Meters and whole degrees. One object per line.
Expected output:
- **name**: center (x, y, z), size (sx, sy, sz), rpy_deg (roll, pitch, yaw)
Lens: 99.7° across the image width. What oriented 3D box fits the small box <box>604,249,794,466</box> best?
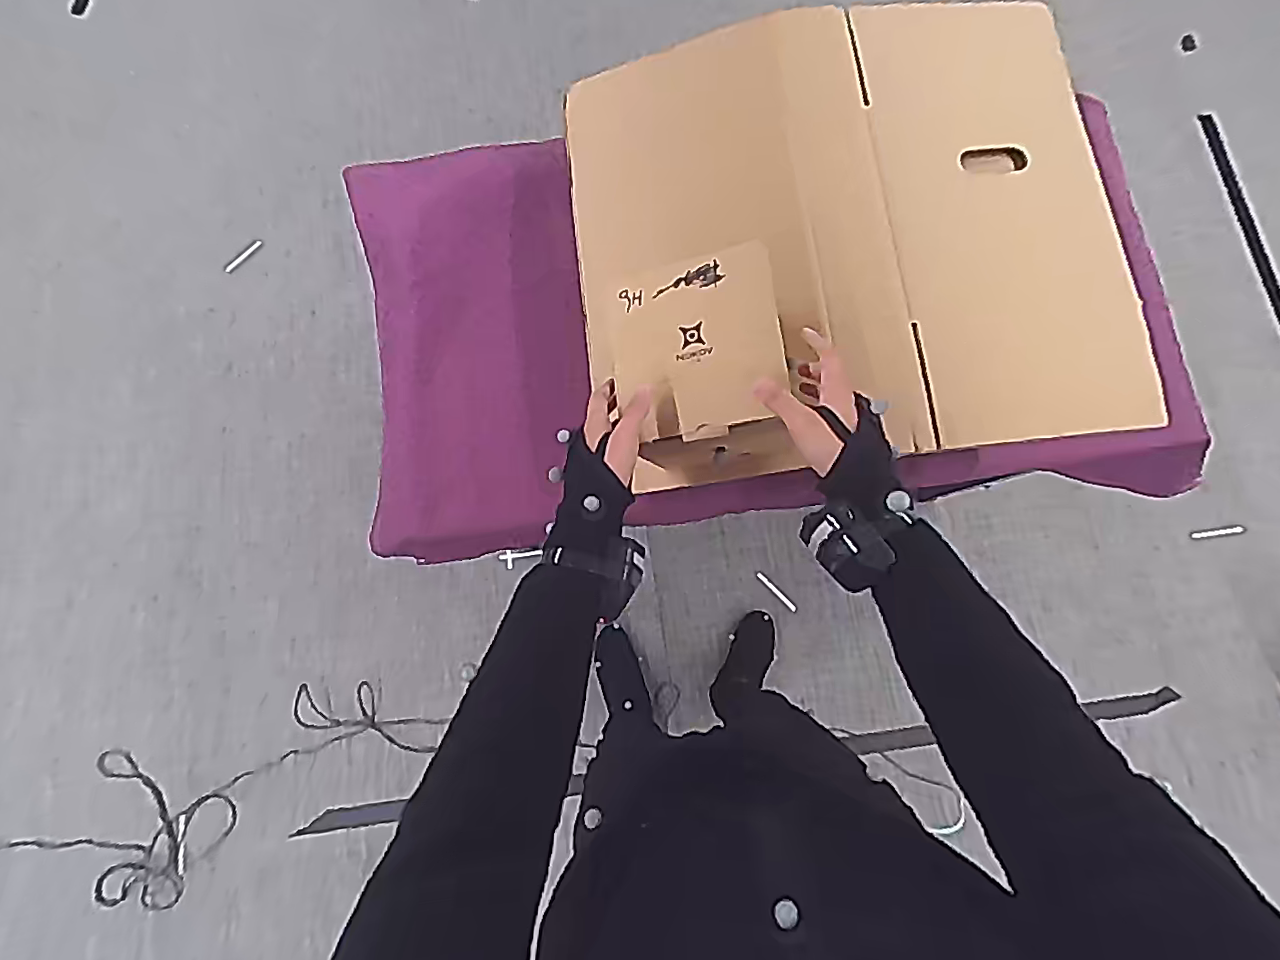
- **small box**: center (0.073, -0.115, 0.597), size (0.168, 0.176, 0.179), rpy_deg (-10, 81, 16)
